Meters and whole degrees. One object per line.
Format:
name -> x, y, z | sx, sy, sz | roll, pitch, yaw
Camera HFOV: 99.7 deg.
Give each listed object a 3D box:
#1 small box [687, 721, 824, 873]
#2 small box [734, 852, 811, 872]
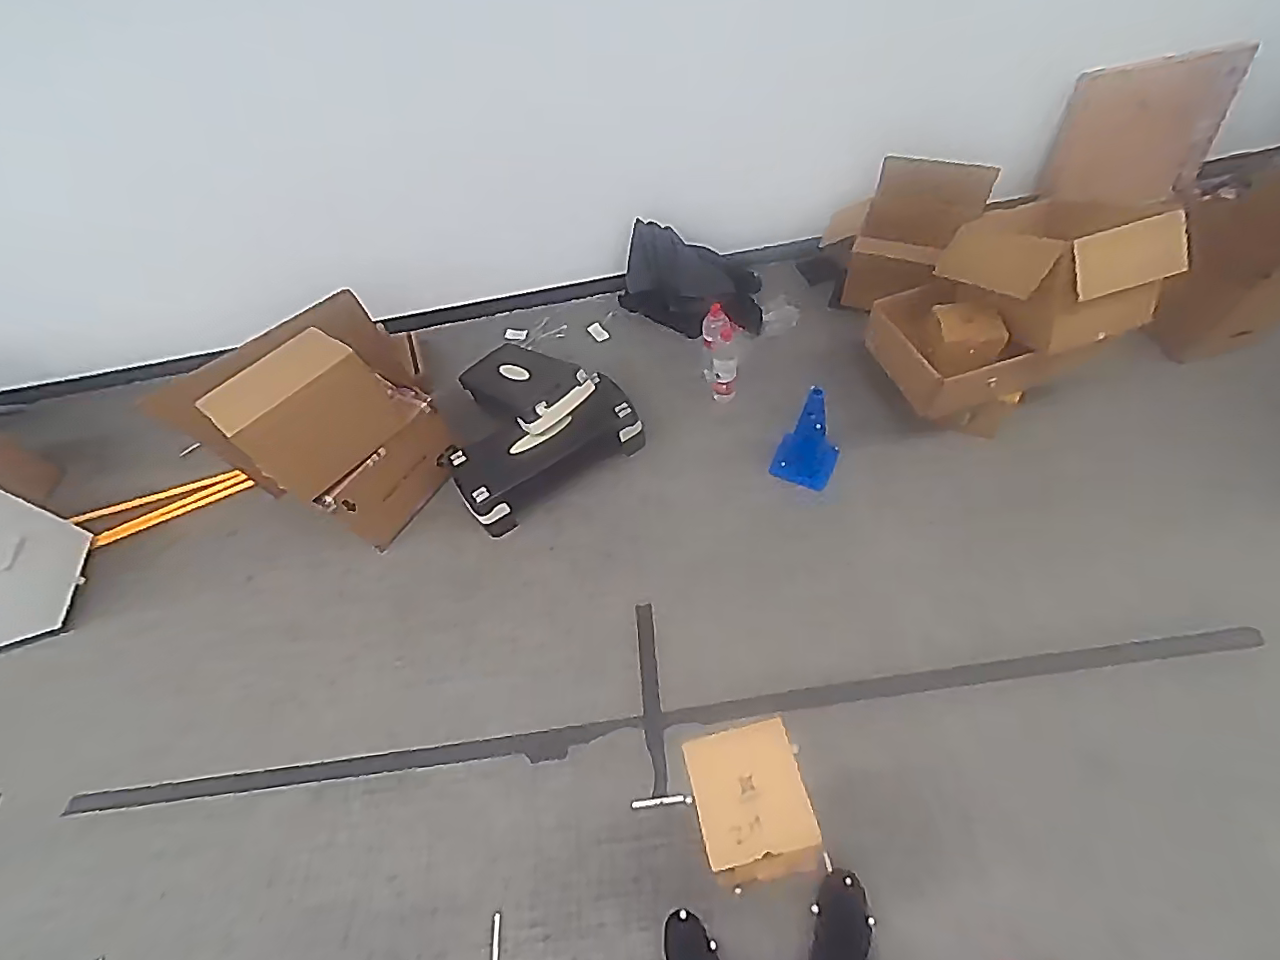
small box -> 0.178, 0.516, 0.878 | 0.168, 0.176, 0.179 | -15, 55, 0
small box -> 0.250, 0.712, 1.135 | 0.168, 0.176, 0.179 | -6, 56, 6
